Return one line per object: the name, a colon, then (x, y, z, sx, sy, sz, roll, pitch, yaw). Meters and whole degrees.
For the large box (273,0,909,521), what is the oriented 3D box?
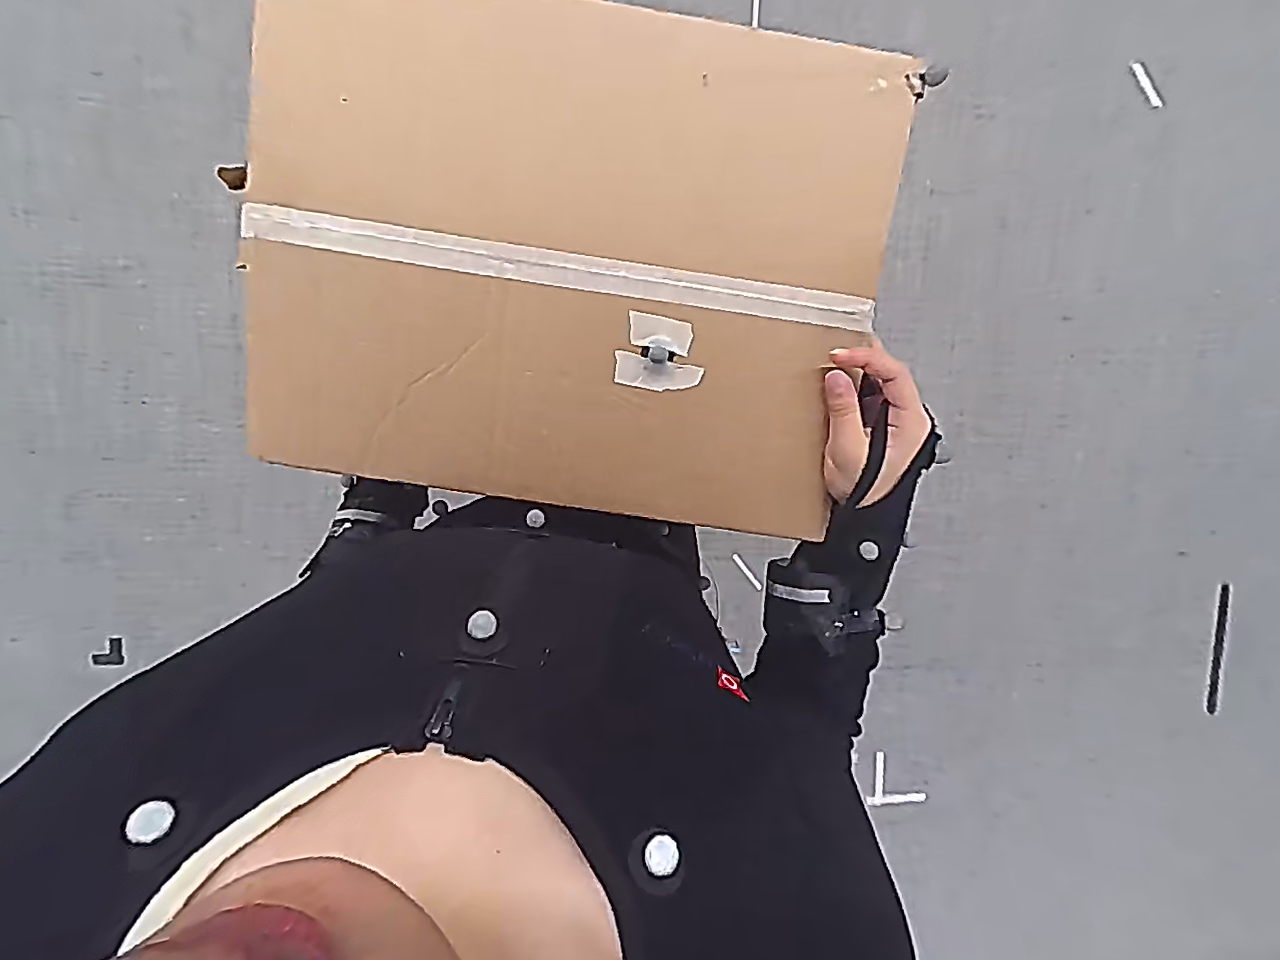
large box: (-0.046, -0.165, 0.508, 0.408, 0.320, 0.320, 7, 100, -3)
